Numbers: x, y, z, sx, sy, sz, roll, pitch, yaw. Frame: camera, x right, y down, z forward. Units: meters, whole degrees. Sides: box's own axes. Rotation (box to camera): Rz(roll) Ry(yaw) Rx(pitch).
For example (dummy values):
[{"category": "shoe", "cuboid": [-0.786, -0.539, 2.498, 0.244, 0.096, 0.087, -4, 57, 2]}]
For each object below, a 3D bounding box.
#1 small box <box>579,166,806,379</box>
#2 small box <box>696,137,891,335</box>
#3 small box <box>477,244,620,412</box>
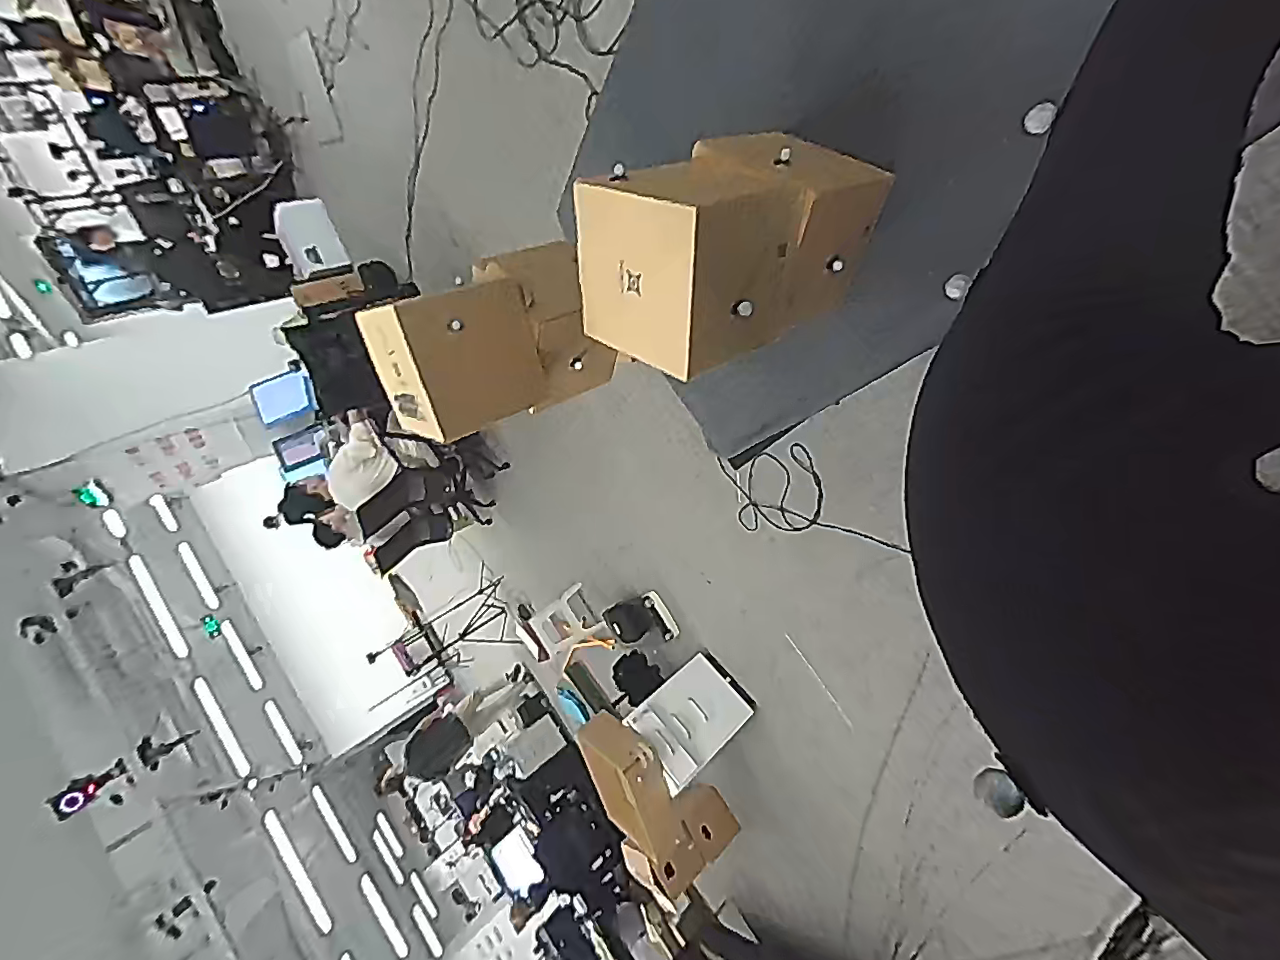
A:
[{"category": "small box", "cuboid": [0.057, -0.238, 0.596, 0.179, 0.176, 0.168, 34, 139, 36]}, {"category": "small box", "cuboid": [0.175, -0.313, 0.678, 0.179, 0.176, 0.168, 42, 143, 28]}, {"category": "small box", "cuboid": [-0.137, -0.246, 0.854, 0.168, 0.176, 0.179, 45, 145, 21]}]
